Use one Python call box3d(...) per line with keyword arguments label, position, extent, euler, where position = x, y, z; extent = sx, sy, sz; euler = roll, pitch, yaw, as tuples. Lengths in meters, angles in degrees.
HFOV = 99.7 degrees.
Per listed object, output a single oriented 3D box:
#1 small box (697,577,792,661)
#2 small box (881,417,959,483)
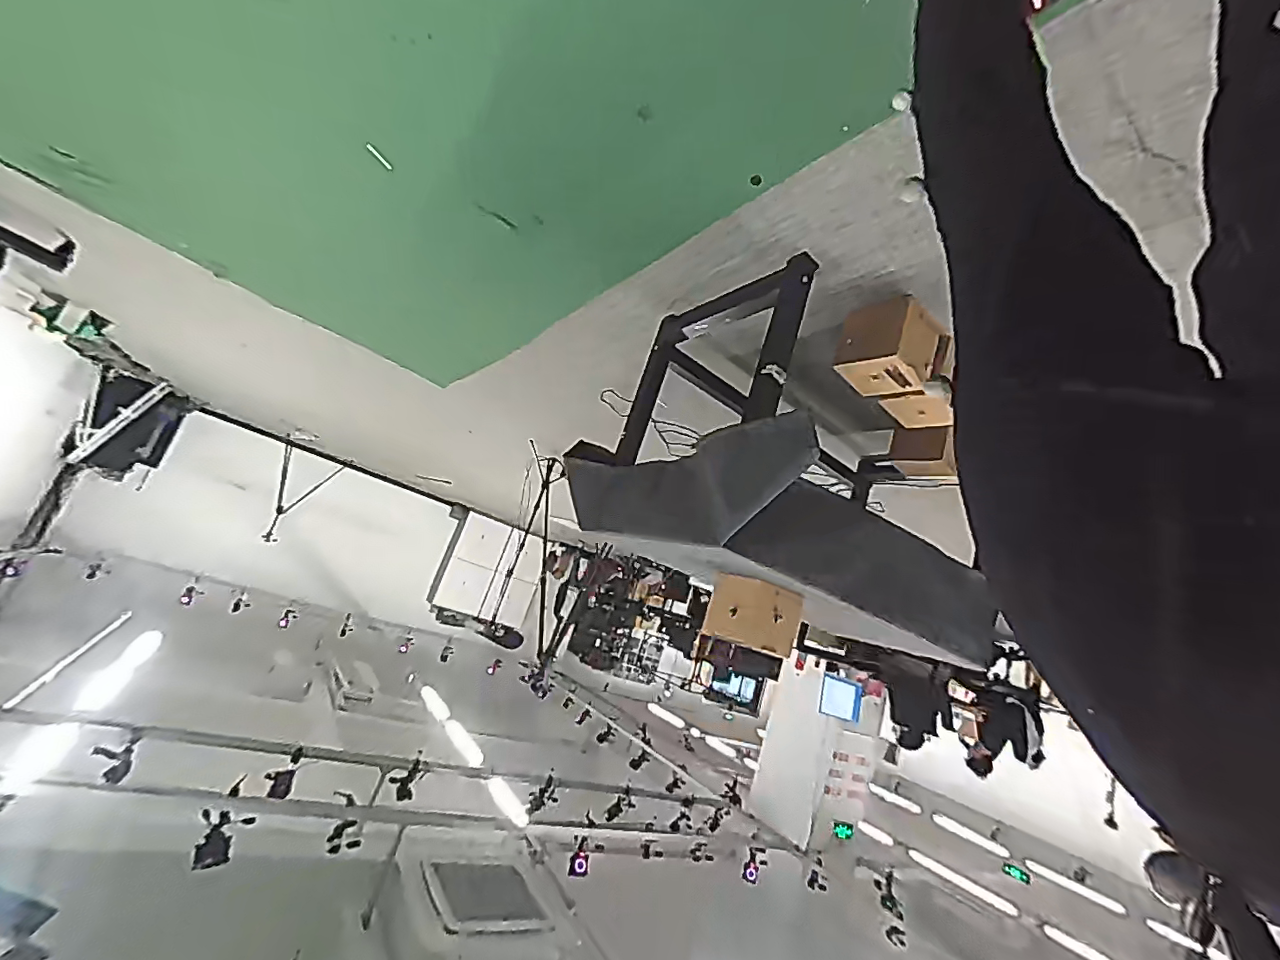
box3d(label="small box", position=(0.280, 0.359, 1.422), extent=(0.168, 0.176, 0.179), euler=(26, 163, -29))
box3d(label="small box", position=(0.948, -0.102, 1.825), extent=(0.168, 0.176, 0.179), euler=(29, 163, -39))
